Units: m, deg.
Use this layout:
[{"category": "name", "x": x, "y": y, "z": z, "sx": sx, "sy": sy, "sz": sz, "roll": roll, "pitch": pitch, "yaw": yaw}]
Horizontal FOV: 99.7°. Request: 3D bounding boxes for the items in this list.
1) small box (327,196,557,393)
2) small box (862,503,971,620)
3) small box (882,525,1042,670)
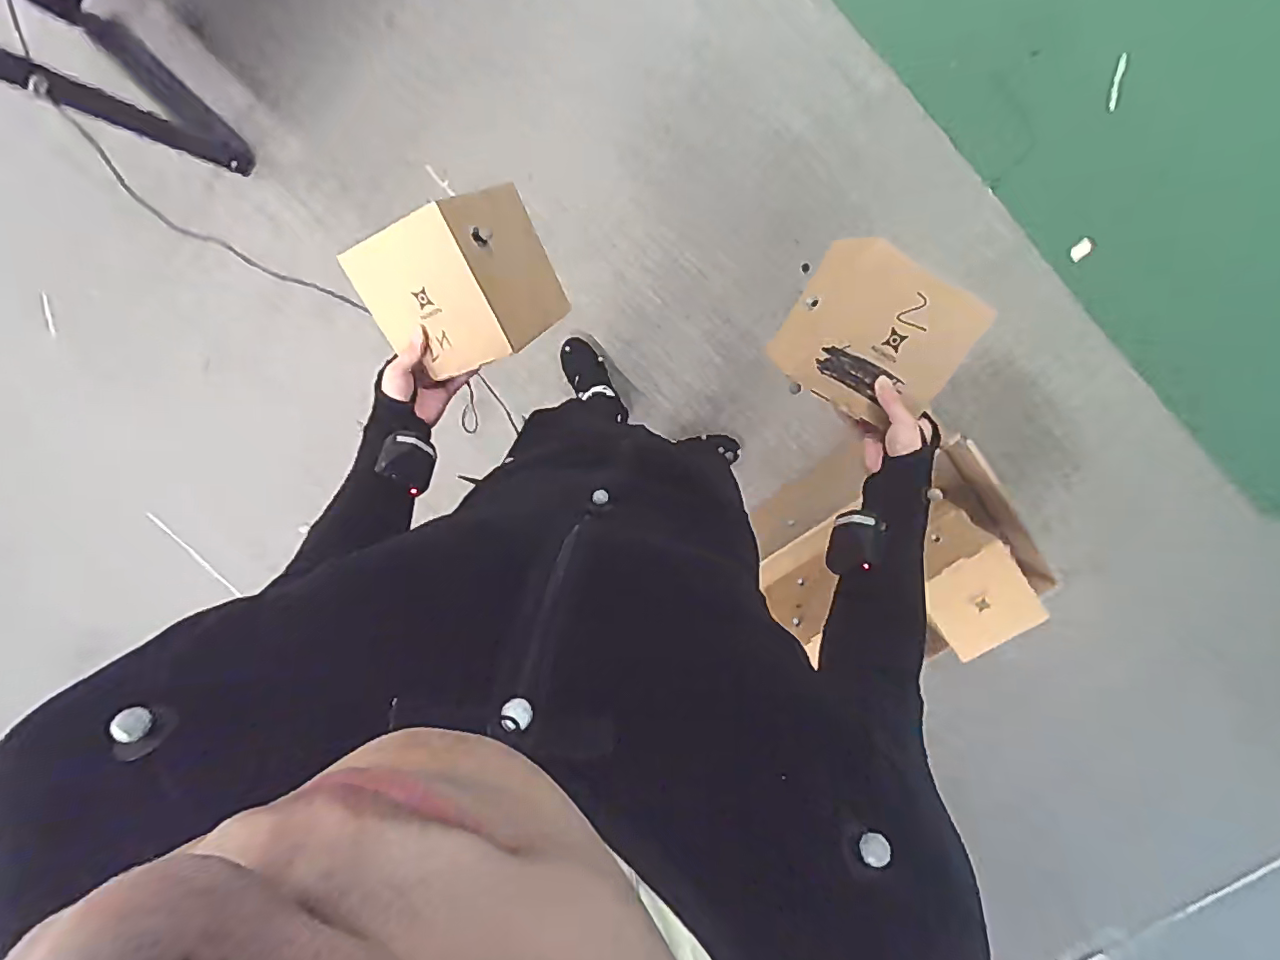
[{"category": "small box", "x": -0.234, "y": -0.238, "z": 0.682, "sx": 0.168, "sy": 0.176, "sz": 0.179, "roll": -11, "pitch": 119, "yaw": 27}, {"category": "small box", "x": 0.620, "y": 0.174, "z": 1.179, "sx": 0.179, "sy": 0.176, "sz": 0.168, "roll": -34, "pitch": 97, "yaw": 13}, {"category": "small box", "x": 0.594, "y": 0.213, "z": 1.021, "sx": 0.168, "sy": 0.176, "sz": 0.179, "roll": -35, "pitch": 97, "yaw": 13}]
